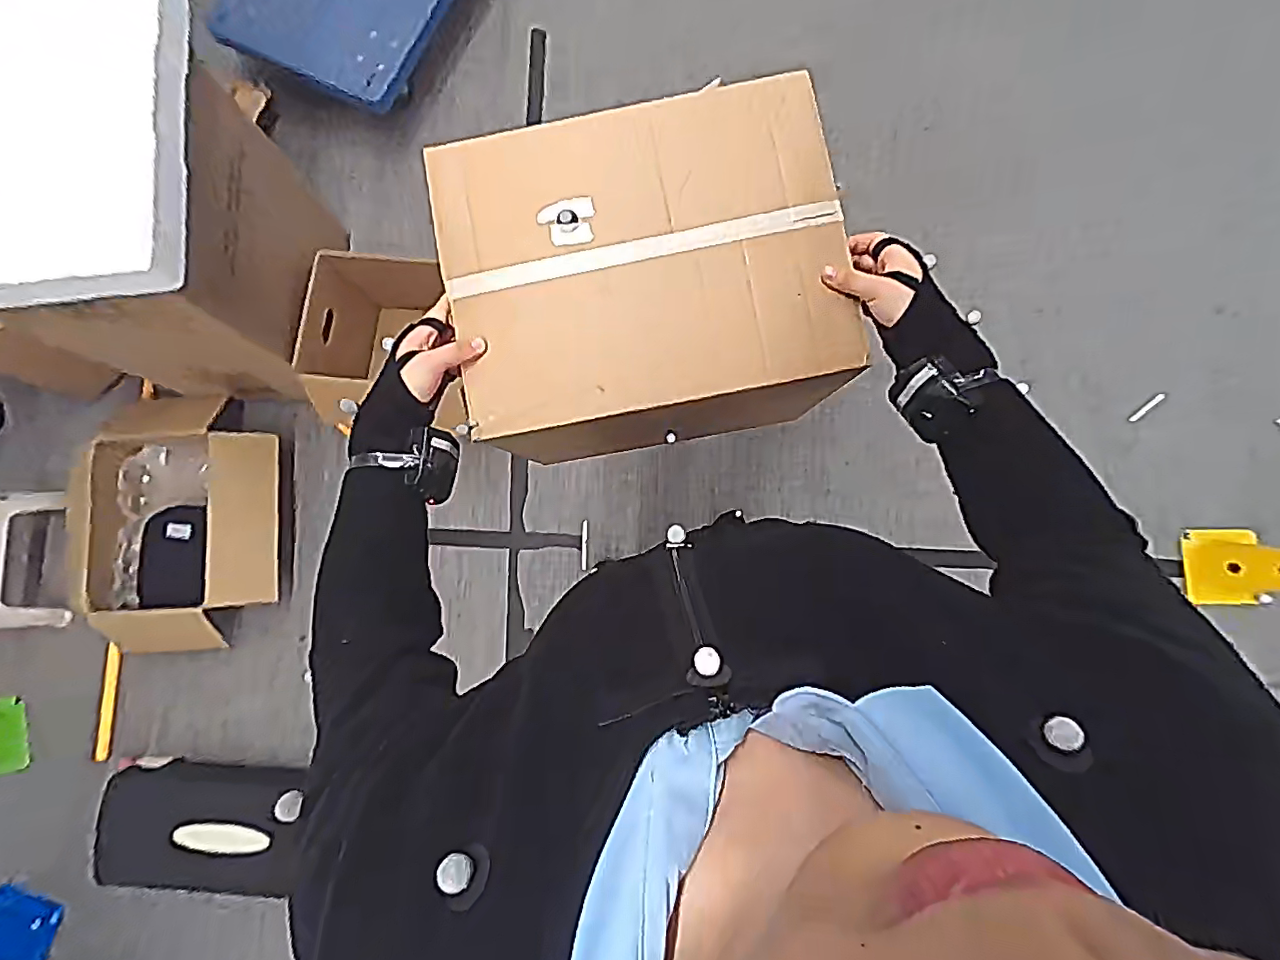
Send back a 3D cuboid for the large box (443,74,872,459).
[{"bbox_3d":[0.021,-0.223,0.704,0.408,0.320,0.320,-11,85,3],"label":"large box"}]
